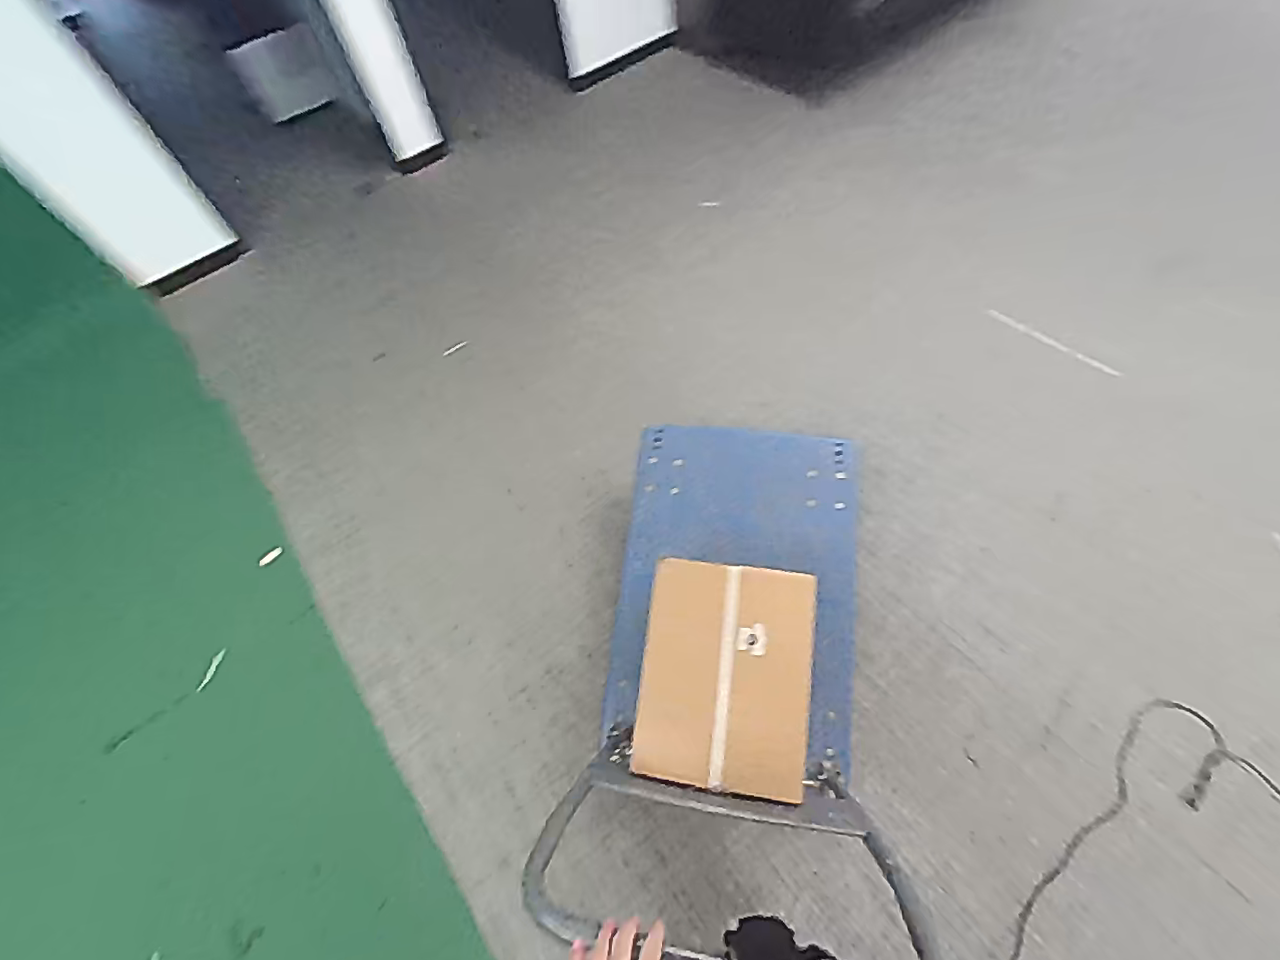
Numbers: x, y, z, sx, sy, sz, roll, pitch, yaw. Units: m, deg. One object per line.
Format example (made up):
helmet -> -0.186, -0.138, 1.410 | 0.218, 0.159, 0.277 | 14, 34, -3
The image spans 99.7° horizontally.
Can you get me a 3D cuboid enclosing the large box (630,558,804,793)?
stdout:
large box -> 0.176, 0.409, 1.187 | 0.320, 0.320, 0.408 | 5, 73, 10
